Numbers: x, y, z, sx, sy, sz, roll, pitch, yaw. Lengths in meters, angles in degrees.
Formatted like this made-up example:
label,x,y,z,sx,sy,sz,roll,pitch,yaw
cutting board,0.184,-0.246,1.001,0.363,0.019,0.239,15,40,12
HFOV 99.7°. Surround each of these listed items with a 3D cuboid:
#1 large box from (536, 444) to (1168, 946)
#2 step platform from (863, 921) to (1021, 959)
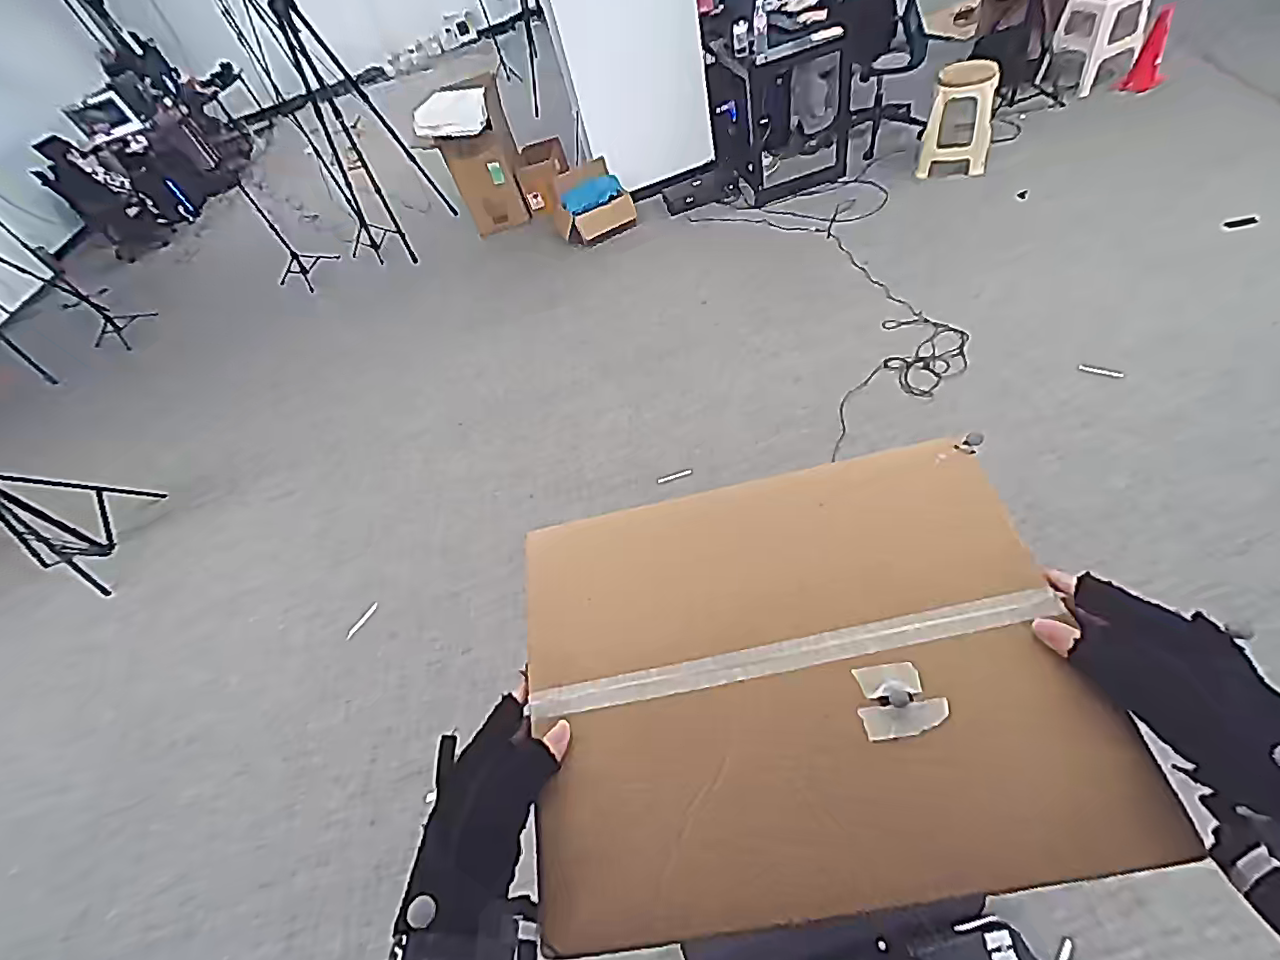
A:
label,x,y,z,sx,sy,sz,roll,pitch,yaw
large box,0.141,0.216,0.551,0.408,0.320,0.320,-13,58,5
step platform,0.437,1.099,1.017,0.684,0.204,0.286,-20,48,3
